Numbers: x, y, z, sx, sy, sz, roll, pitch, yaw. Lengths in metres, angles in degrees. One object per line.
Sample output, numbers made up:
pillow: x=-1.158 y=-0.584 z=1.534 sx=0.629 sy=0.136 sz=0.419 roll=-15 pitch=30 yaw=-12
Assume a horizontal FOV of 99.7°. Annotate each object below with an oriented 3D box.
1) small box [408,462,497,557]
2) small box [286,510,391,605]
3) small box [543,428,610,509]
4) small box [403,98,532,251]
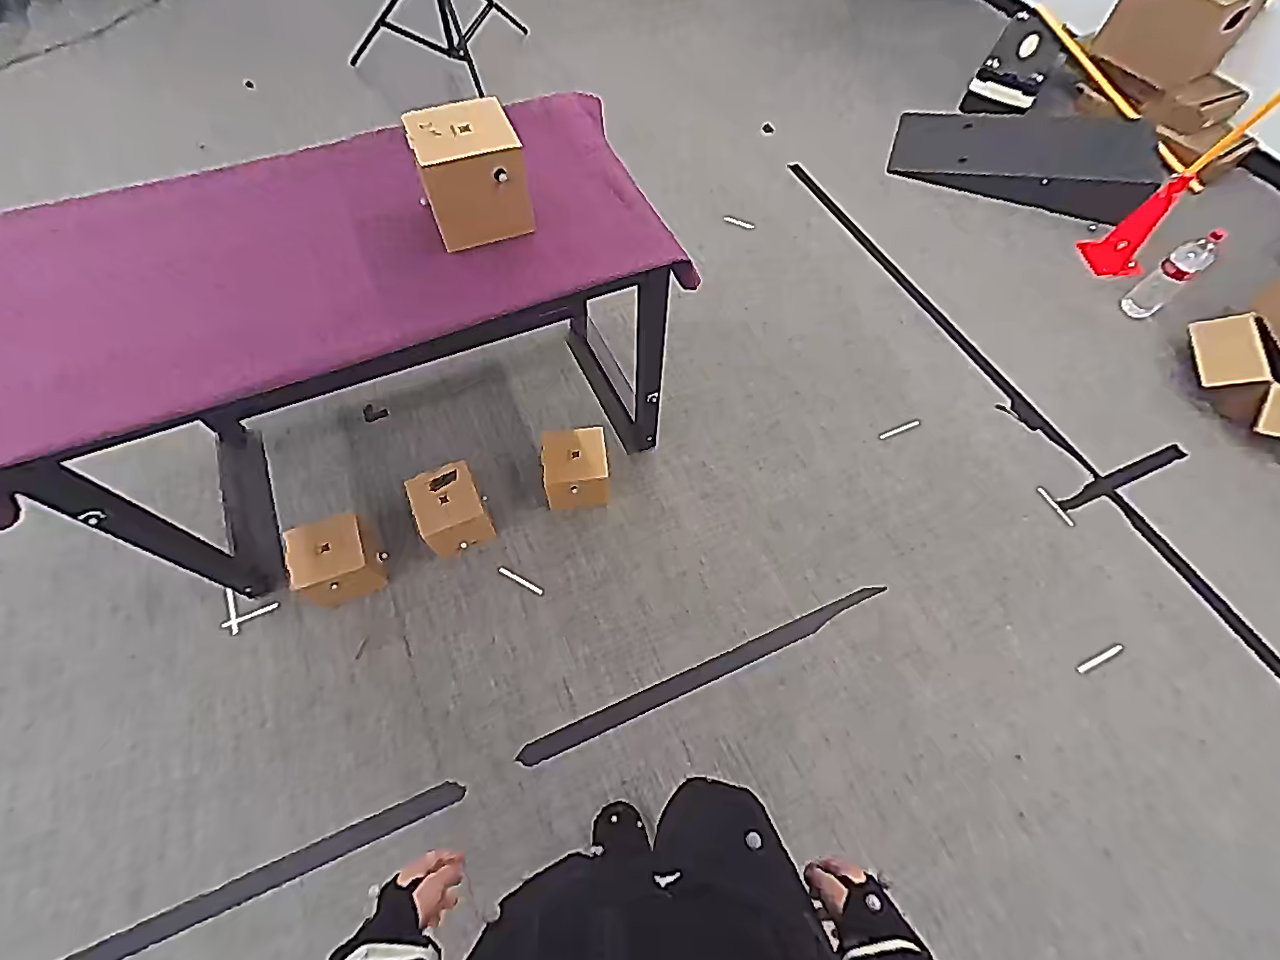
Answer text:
small box: x=-0.508 y=0.084 z=1.477 sx=0.168 sy=0.176 sz=0.179 roll=-22 pitch=66 yaw=-12
small box: x=-0.779 y=0.207 z=1.407 sx=0.179 sy=0.176 sz=0.168 roll=-20 pitch=66 yaw=-12
small box: x=-0.178 y=-0.029 z=1.548 sx=0.179 sy=0.176 sz=0.168 roll=-7 pitch=63 yaw=-4
small box: x=-0.307 y=-0.557 z=0.996 sx=0.179 sy=0.176 sz=0.168 roll=-20 pitch=64 yaw=-11
